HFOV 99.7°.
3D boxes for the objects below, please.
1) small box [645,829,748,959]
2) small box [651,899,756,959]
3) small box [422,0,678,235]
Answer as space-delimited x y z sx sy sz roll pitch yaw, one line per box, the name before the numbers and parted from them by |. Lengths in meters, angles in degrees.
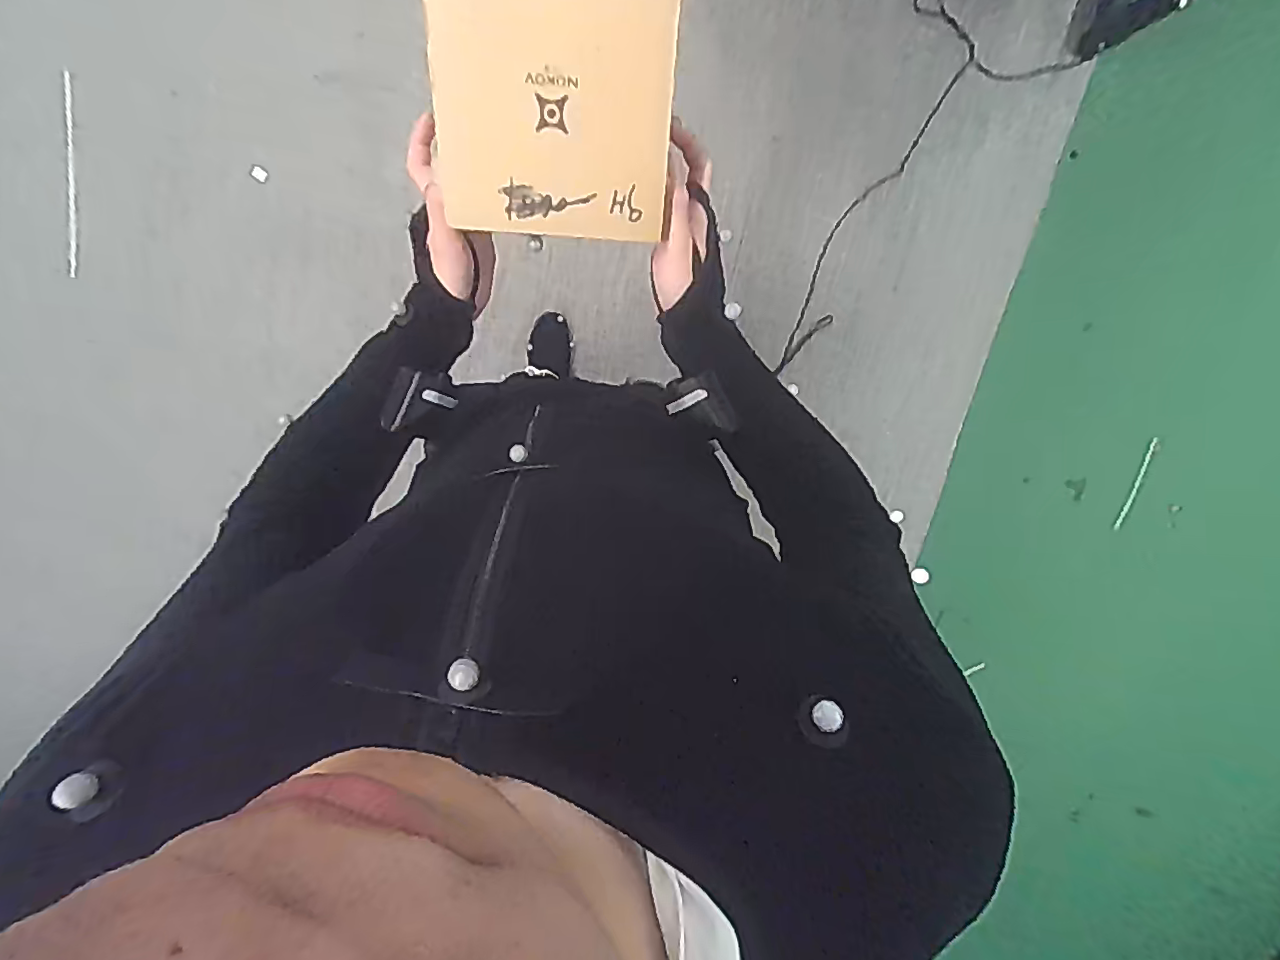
small box | 0.115 0.928 1.201 0.168 0.176 0.179 18 102 -8
small box | 0.125 0.966 1.043 0.168 0.176 0.179 17 102 -9
small box | -0.062 -0.305 0.436 0.168 0.176 0.179 4 119 -2
